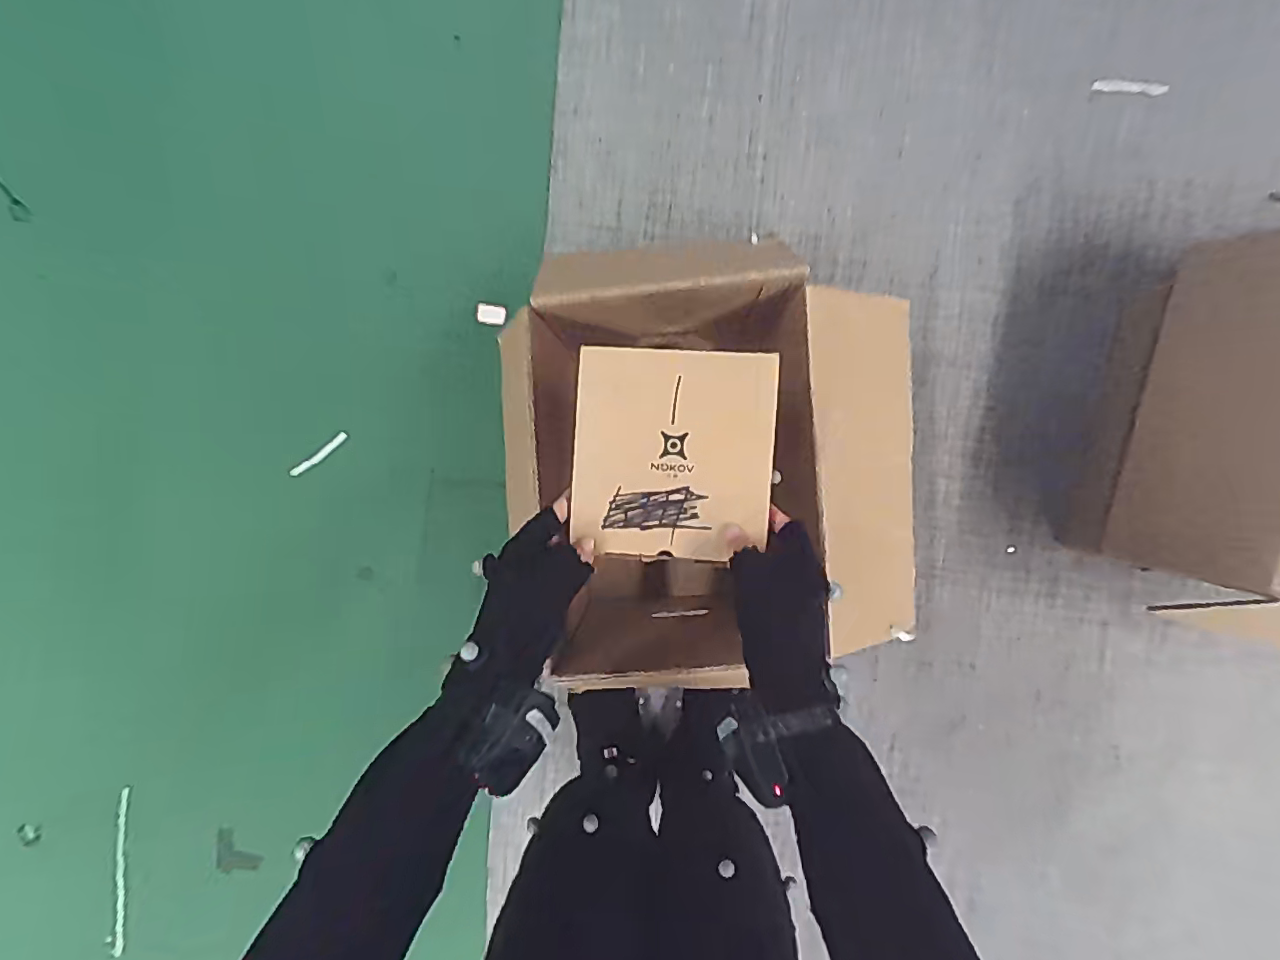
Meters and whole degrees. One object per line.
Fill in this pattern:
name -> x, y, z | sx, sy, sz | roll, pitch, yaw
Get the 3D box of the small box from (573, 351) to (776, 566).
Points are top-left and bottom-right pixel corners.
small box -> 0.036, -0.022, 0.538 | 0.168, 0.176, 0.179 | 4, 92, 6
